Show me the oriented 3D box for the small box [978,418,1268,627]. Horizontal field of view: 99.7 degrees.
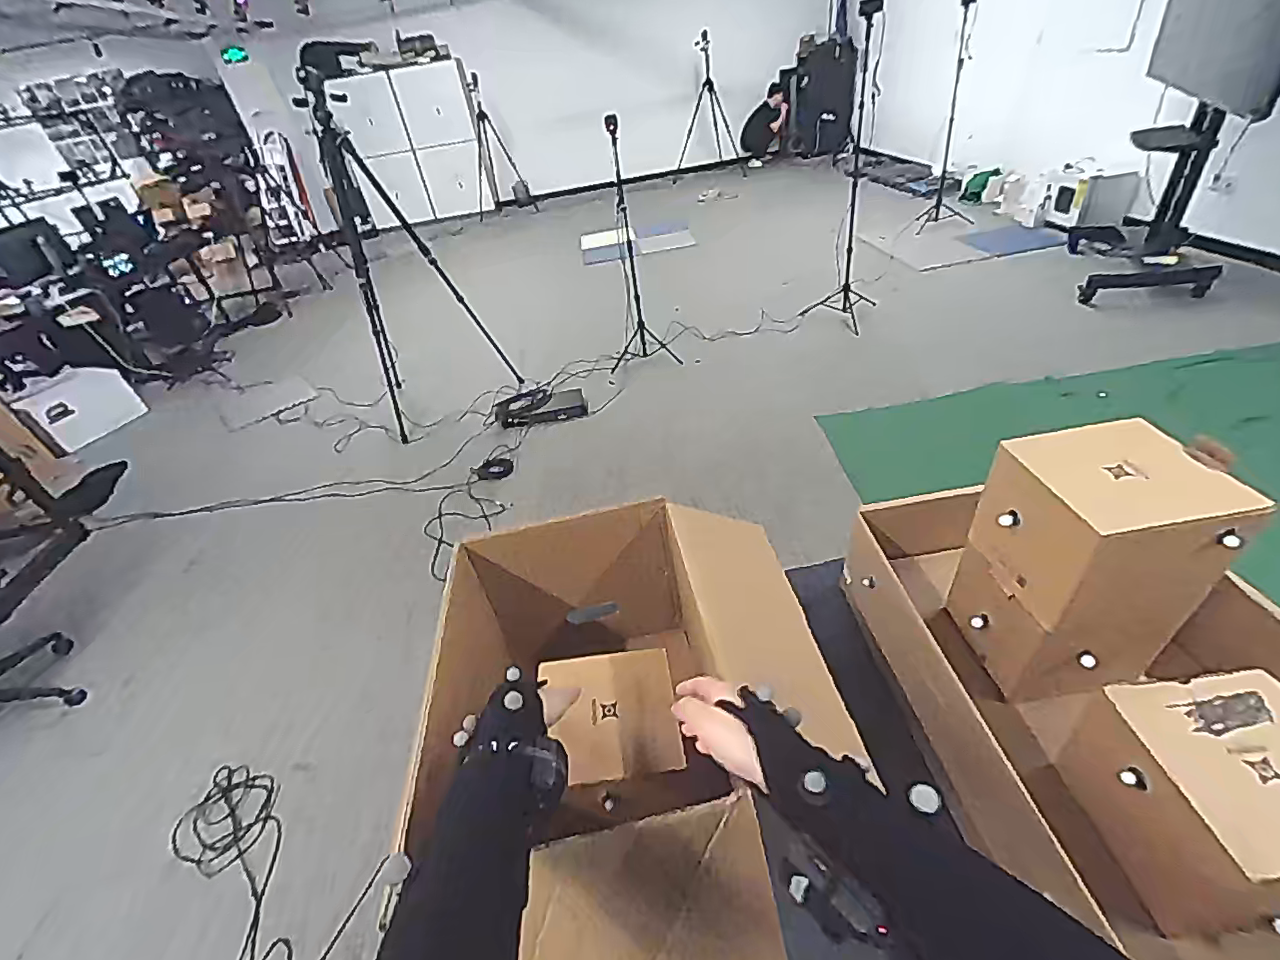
[{"bbox_3d":[0.534,0.052,0.639,0.179,0.176,0.168,-10,39,0],"label":"small box"}]
